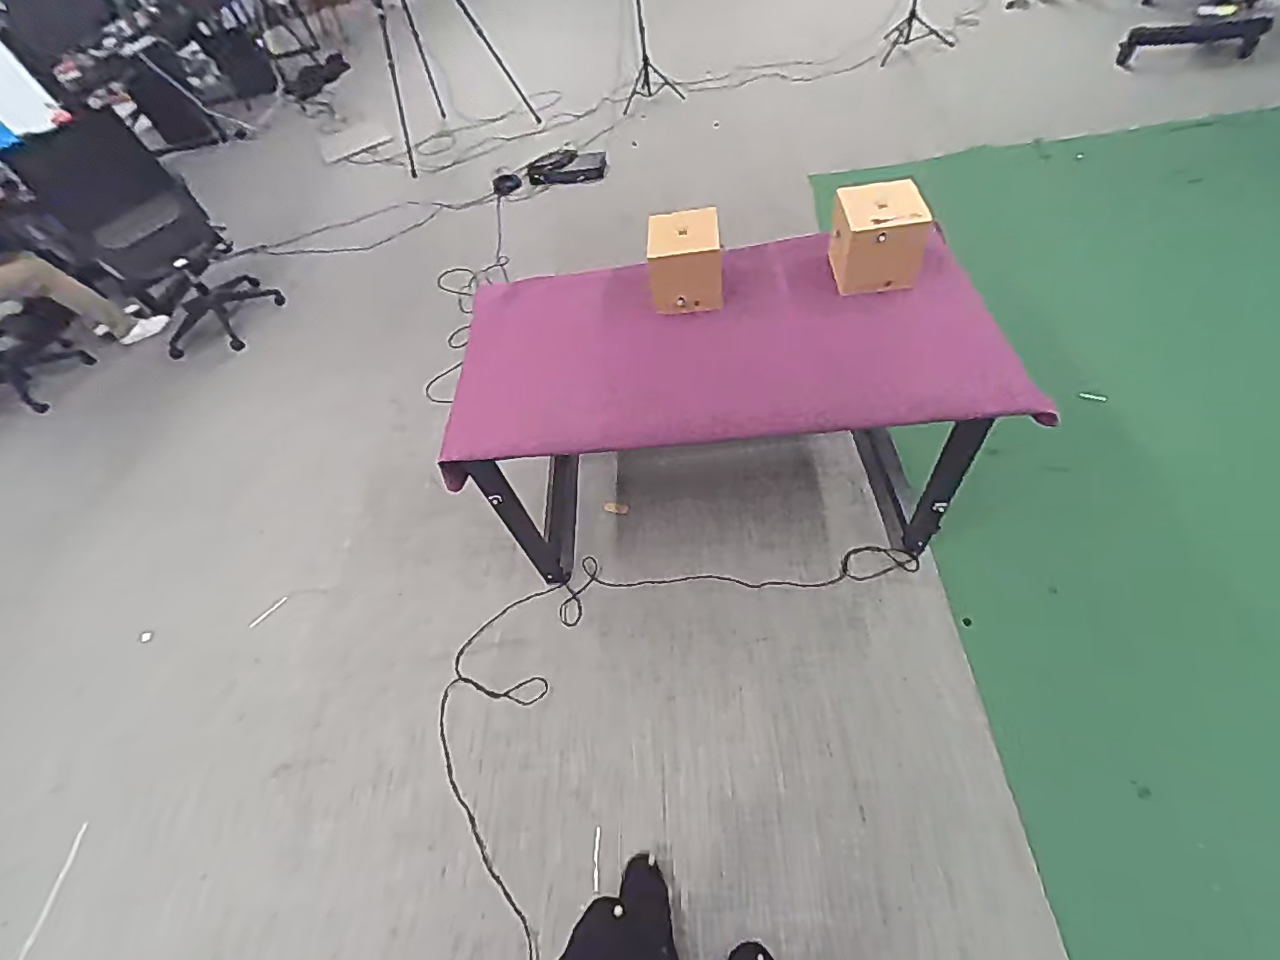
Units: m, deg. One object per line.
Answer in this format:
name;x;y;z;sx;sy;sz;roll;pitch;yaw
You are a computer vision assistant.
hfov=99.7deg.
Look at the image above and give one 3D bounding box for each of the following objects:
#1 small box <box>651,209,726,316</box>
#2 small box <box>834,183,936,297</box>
small box;0.122;-0.525;1.315;0.168;0.176;0.179;-3;55;10
small box;0.552;-0.548;1.246;0.168;0.176;0.179;-4;54;9
